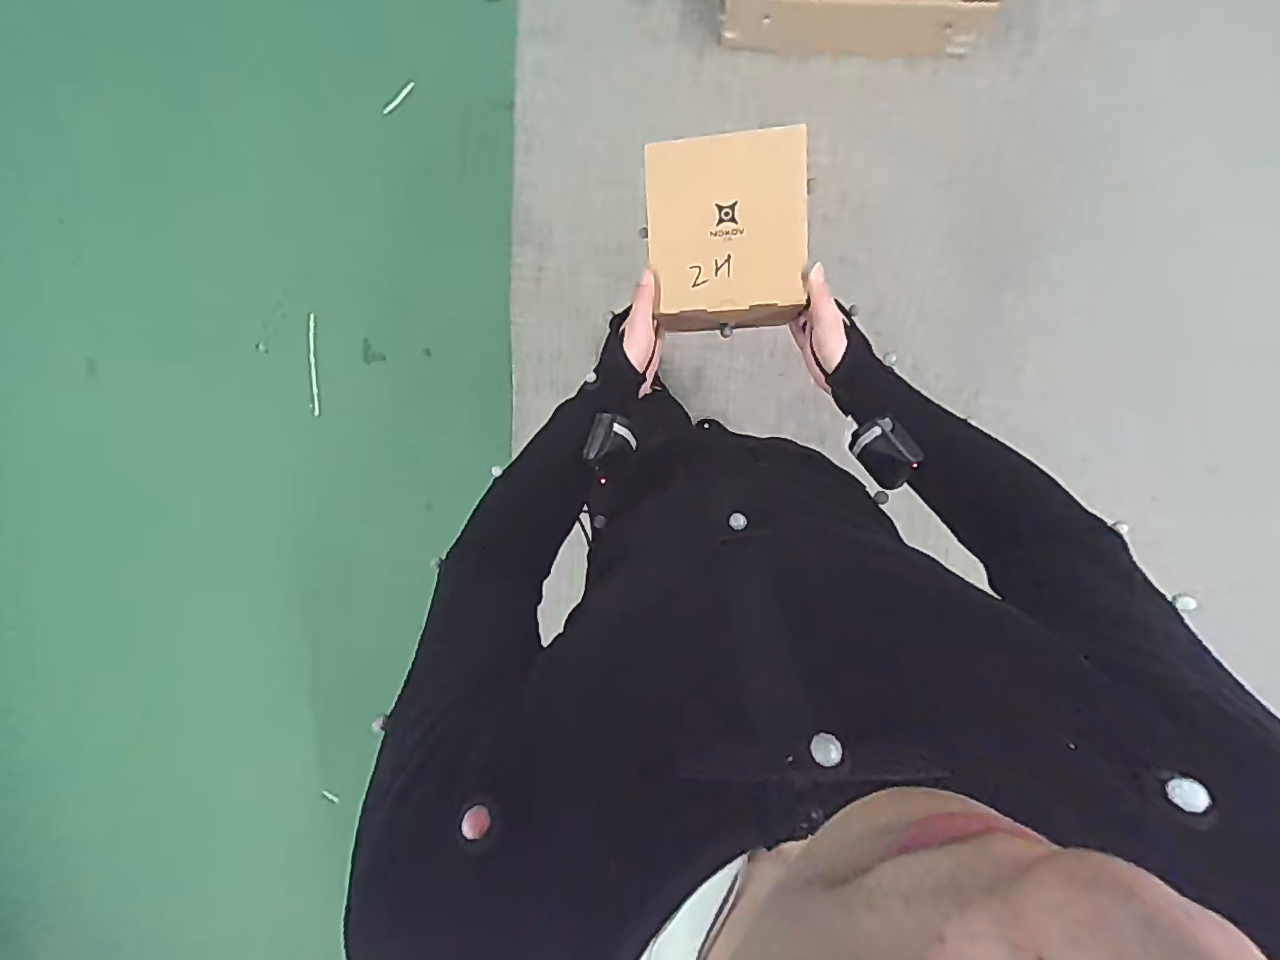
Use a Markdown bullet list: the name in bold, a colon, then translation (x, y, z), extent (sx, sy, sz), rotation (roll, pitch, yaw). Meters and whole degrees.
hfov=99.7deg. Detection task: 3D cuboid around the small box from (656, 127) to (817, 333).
- **small box**: translation (0.107, -0.277, 0.638), extent (0.168, 0.176, 0.179), rotation (0, 98, 9)
